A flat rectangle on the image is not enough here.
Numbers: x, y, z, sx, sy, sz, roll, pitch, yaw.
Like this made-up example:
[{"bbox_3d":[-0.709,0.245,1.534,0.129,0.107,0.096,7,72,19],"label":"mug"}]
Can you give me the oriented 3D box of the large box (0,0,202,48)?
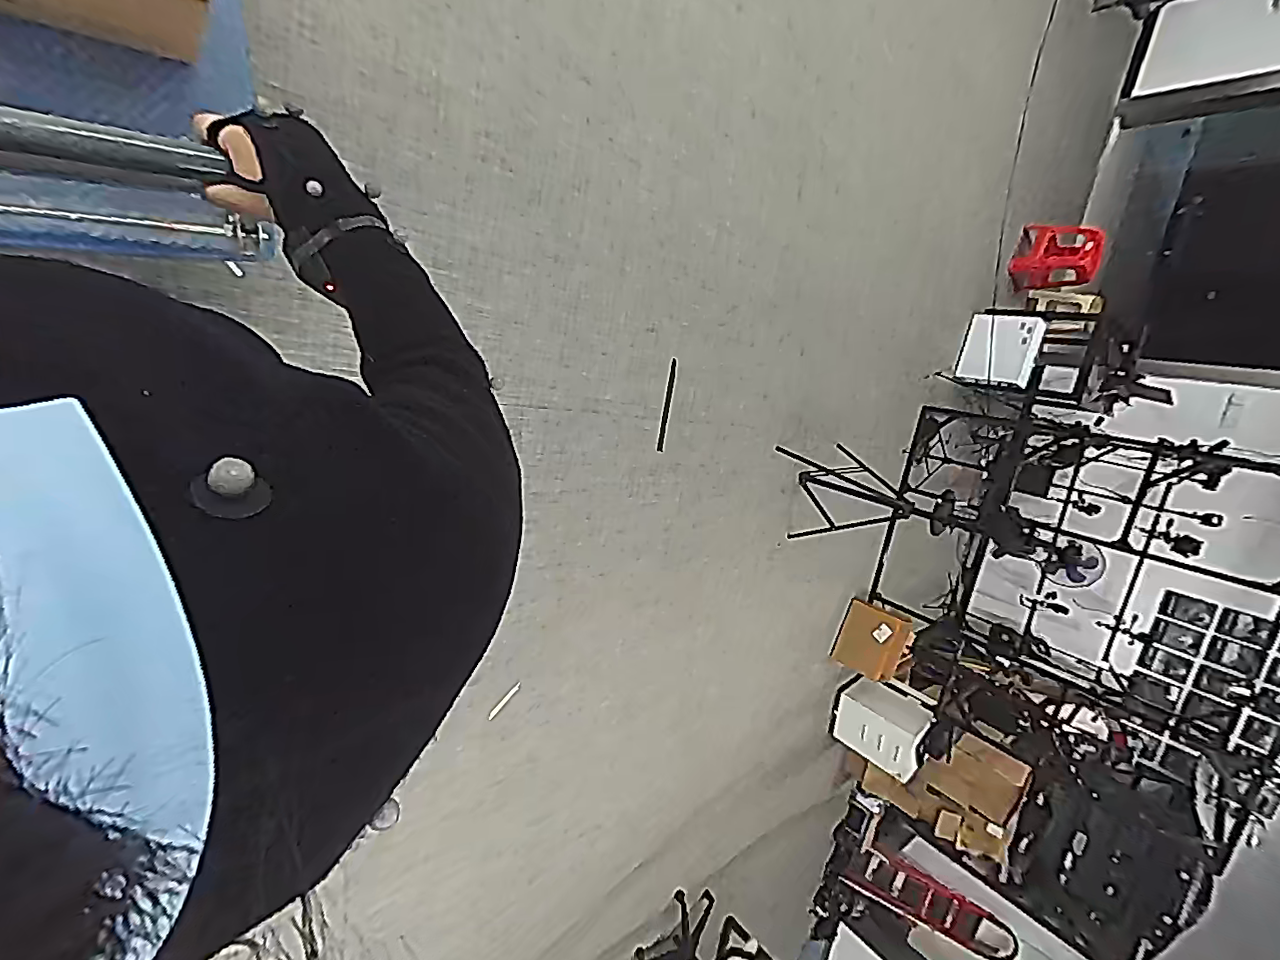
[{"bbox_3d":[-0.807,-0.792,0.640,0.408,0.320,0.320,-12,113,-39],"label":"large box"}]
